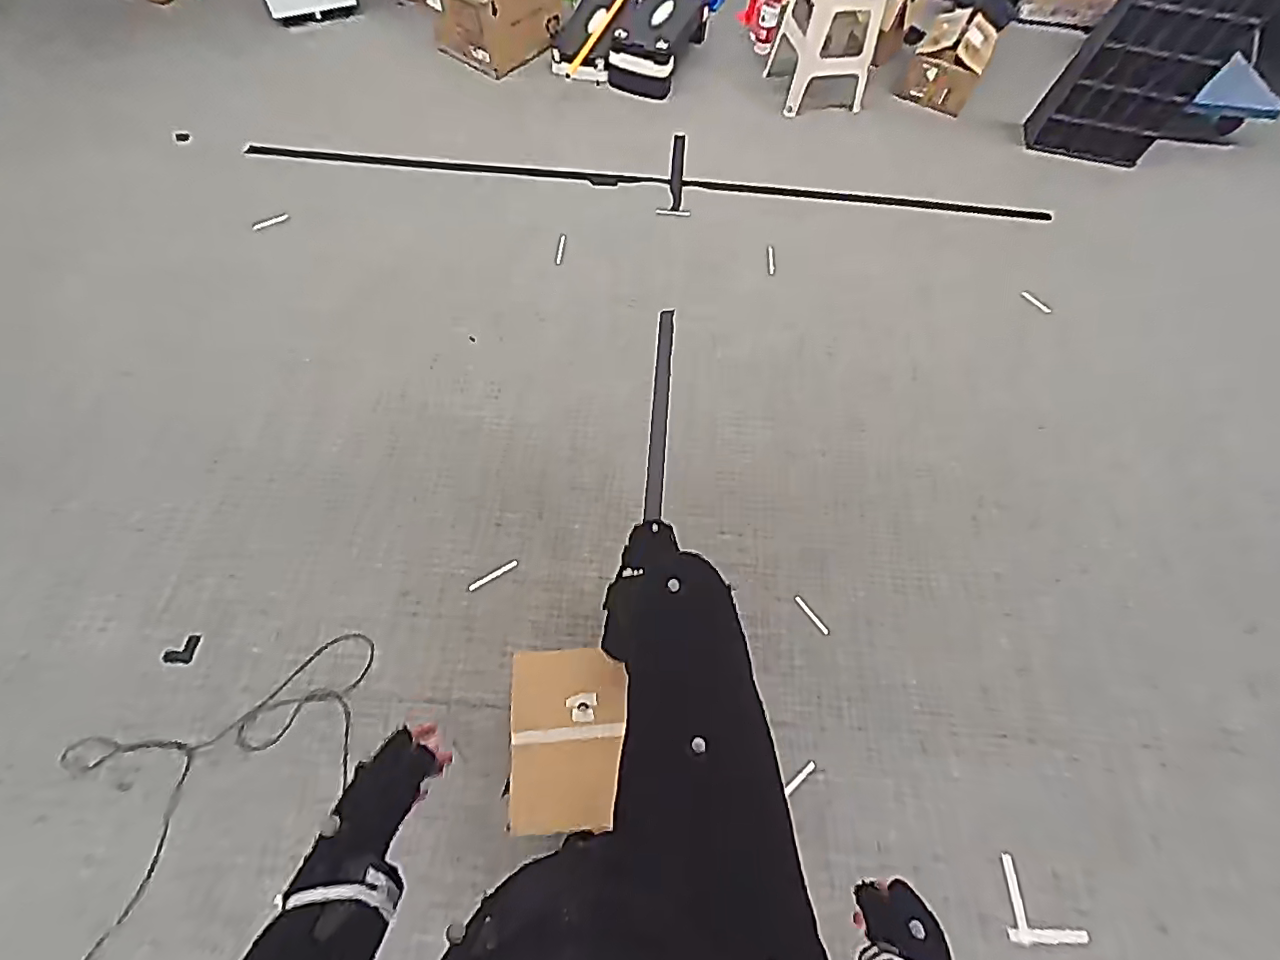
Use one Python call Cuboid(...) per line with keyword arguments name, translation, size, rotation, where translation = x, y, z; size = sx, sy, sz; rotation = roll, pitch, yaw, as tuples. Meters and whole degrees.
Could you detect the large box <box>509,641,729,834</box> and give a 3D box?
Cuboid(name="large box", translation=(-0.051, 0.545, 1.168), size=(0.408, 0.320, 0.320), rotation=(-2, 63, -4))
